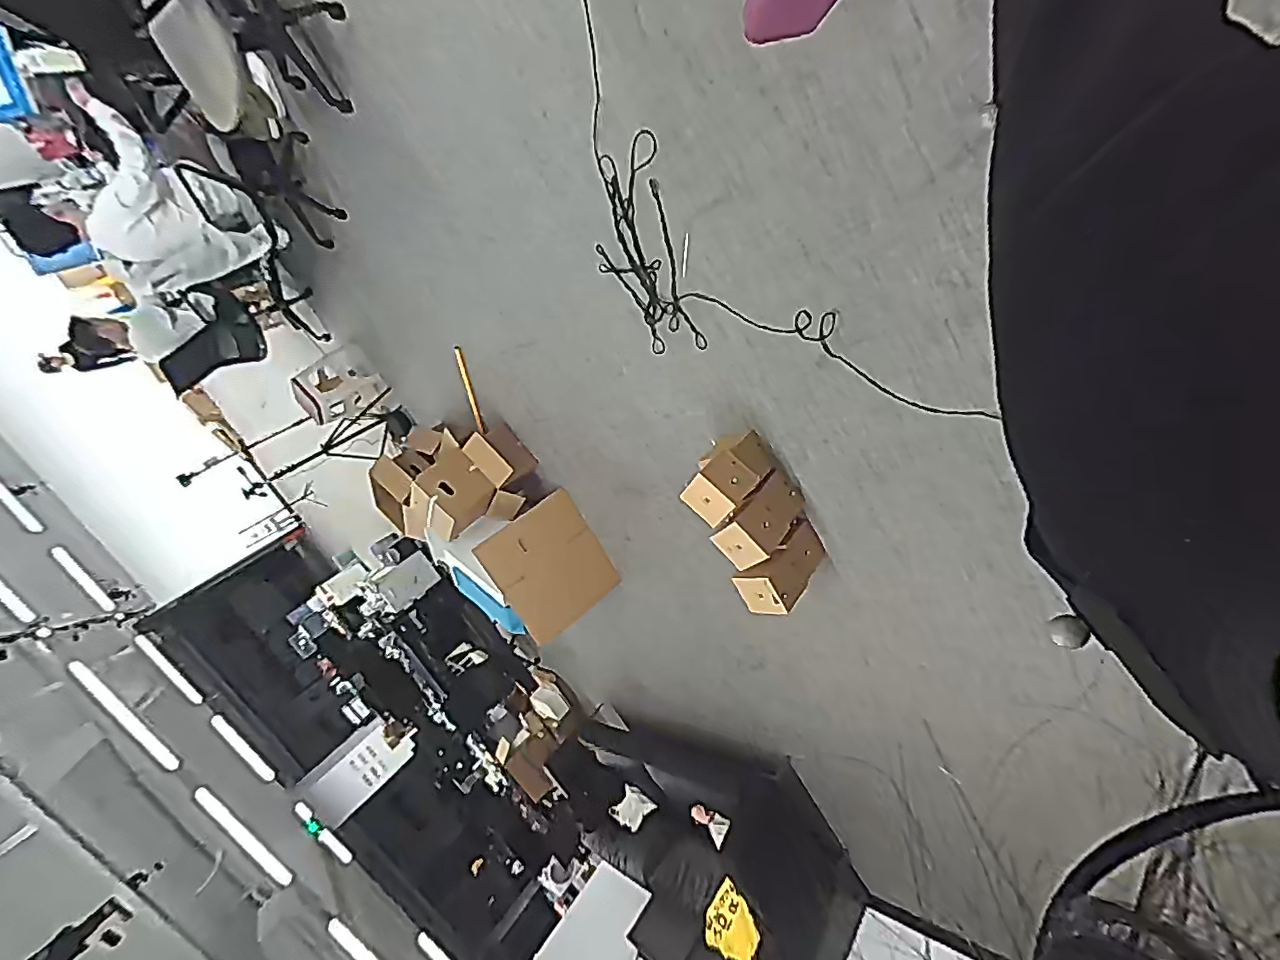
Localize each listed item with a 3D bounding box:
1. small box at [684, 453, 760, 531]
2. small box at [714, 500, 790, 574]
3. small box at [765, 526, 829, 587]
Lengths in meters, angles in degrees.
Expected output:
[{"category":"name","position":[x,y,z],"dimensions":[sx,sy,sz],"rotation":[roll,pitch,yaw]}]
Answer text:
[{"category":"small box","position":[0.288,0.037,1.864],"dimensions":[0.168,0.176,0.179],"rotation":[43,146,8]},{"category":"small box","position":[0.400,0.197,1.898],"dimensions":[0.168,0.176,0.179],"rotation":[48,146,2]},{"category":"small box","position":[0.588,0.287,2.062],"dimensions":[0.168,0.176,0.179],"rotation":[-16,111,53]}]
